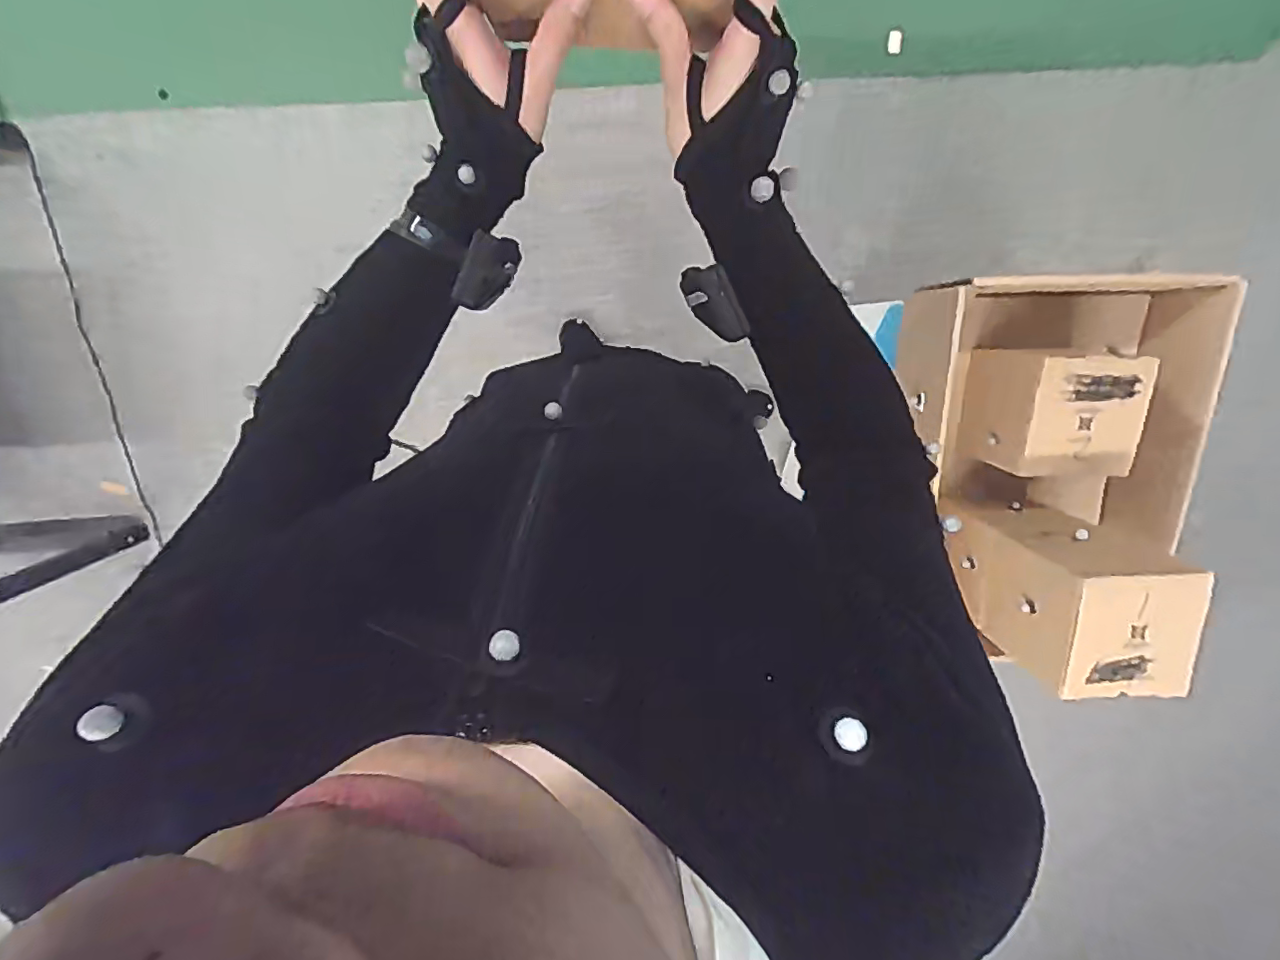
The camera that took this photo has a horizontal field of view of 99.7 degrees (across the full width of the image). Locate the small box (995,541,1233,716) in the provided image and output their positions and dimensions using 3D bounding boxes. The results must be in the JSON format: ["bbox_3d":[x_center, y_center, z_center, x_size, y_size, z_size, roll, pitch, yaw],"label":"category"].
[{"bbox_3d":[0.624,0.195,0.740,0.168,0.176,0.179,-1,103,0],"label":"small box"}]

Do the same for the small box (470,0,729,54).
[{"bbox_3d":[-0.025,-0.369,0.294,0.179,0.176,0.168,4,104,1],"label":"small box"}]
